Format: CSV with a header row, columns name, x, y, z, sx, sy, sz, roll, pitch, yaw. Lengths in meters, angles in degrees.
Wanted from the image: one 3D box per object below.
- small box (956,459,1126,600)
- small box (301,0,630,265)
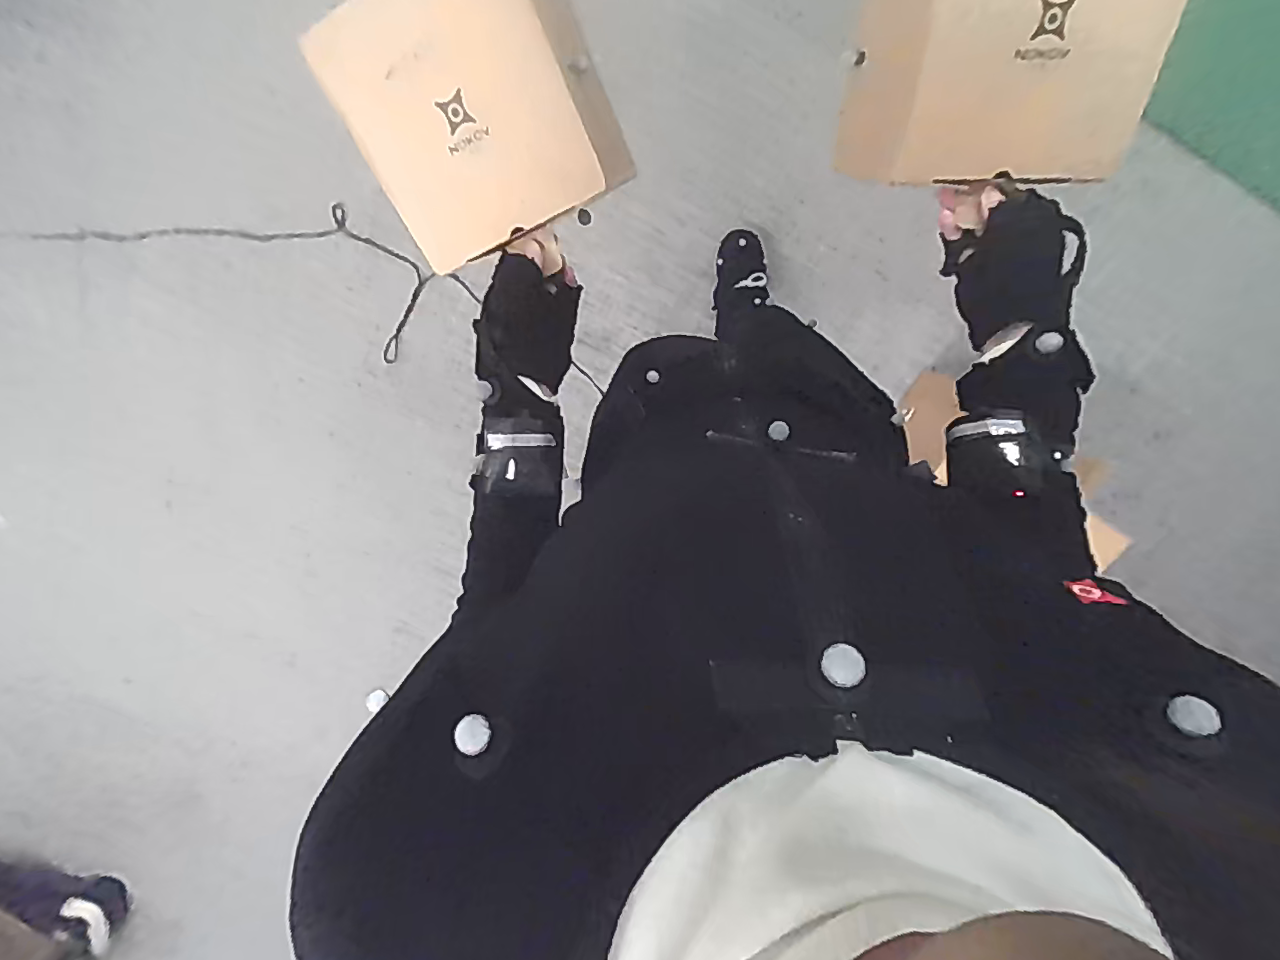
name,x,y,z,sx,sy,sz,roll,pitch,yaw
small box,0.750,0.089,1.042,0.168,0.176,0.179,34,110,-6
small box,-0.120,-0.314,0.457,0.168,0.176,0.179,-19,117,18
